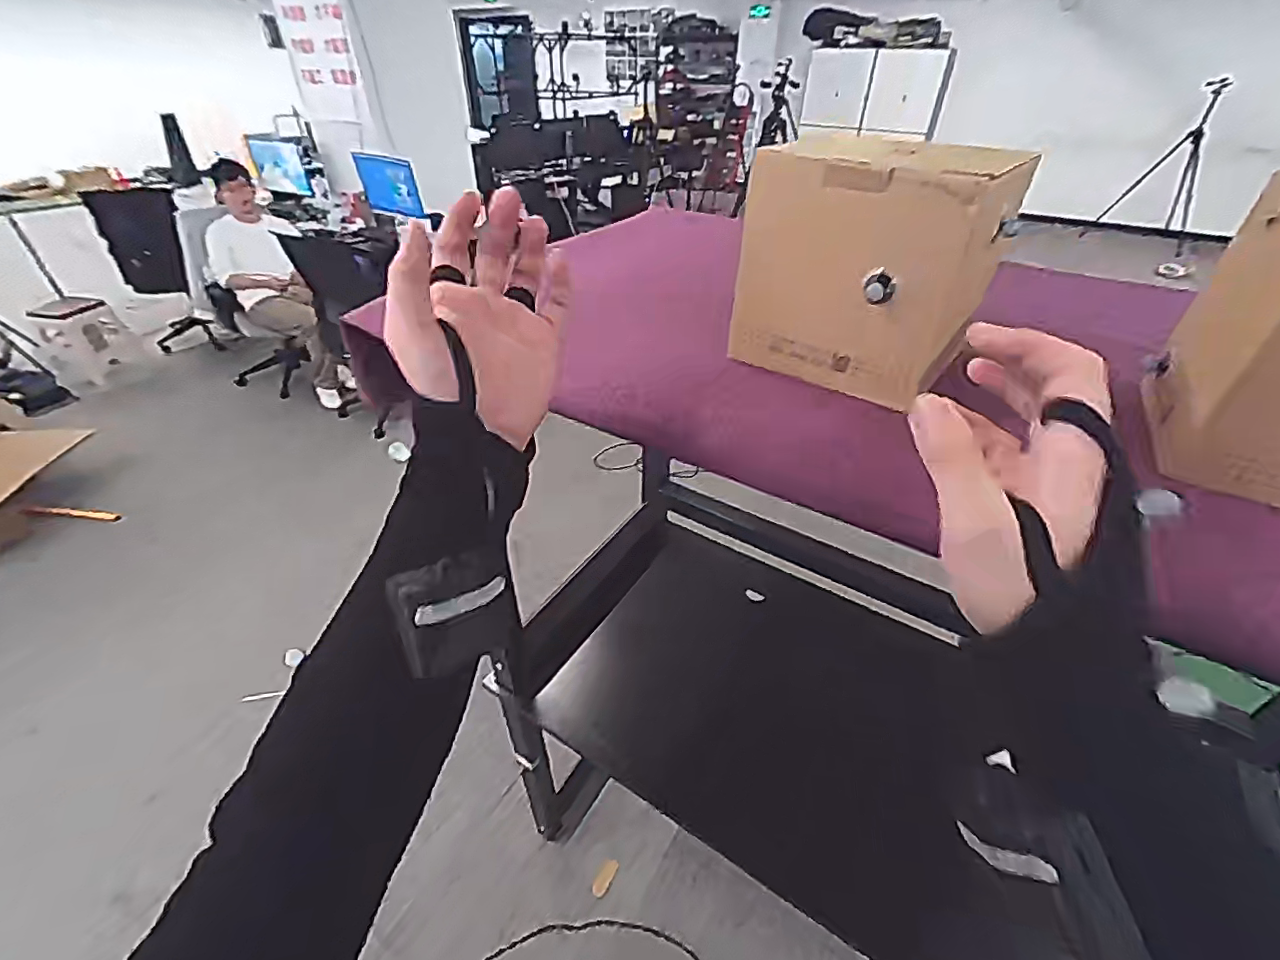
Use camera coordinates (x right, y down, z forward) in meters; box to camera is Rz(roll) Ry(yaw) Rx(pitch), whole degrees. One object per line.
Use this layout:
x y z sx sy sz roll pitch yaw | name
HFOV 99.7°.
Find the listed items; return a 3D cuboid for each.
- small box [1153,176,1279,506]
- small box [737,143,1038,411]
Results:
0.458 -0.074 0.325 0.179 0.176 0.168 22 41 25 | small box
0.197 -0.180 0.463 0.168 0.176 0.179 27 44 30 | small box
